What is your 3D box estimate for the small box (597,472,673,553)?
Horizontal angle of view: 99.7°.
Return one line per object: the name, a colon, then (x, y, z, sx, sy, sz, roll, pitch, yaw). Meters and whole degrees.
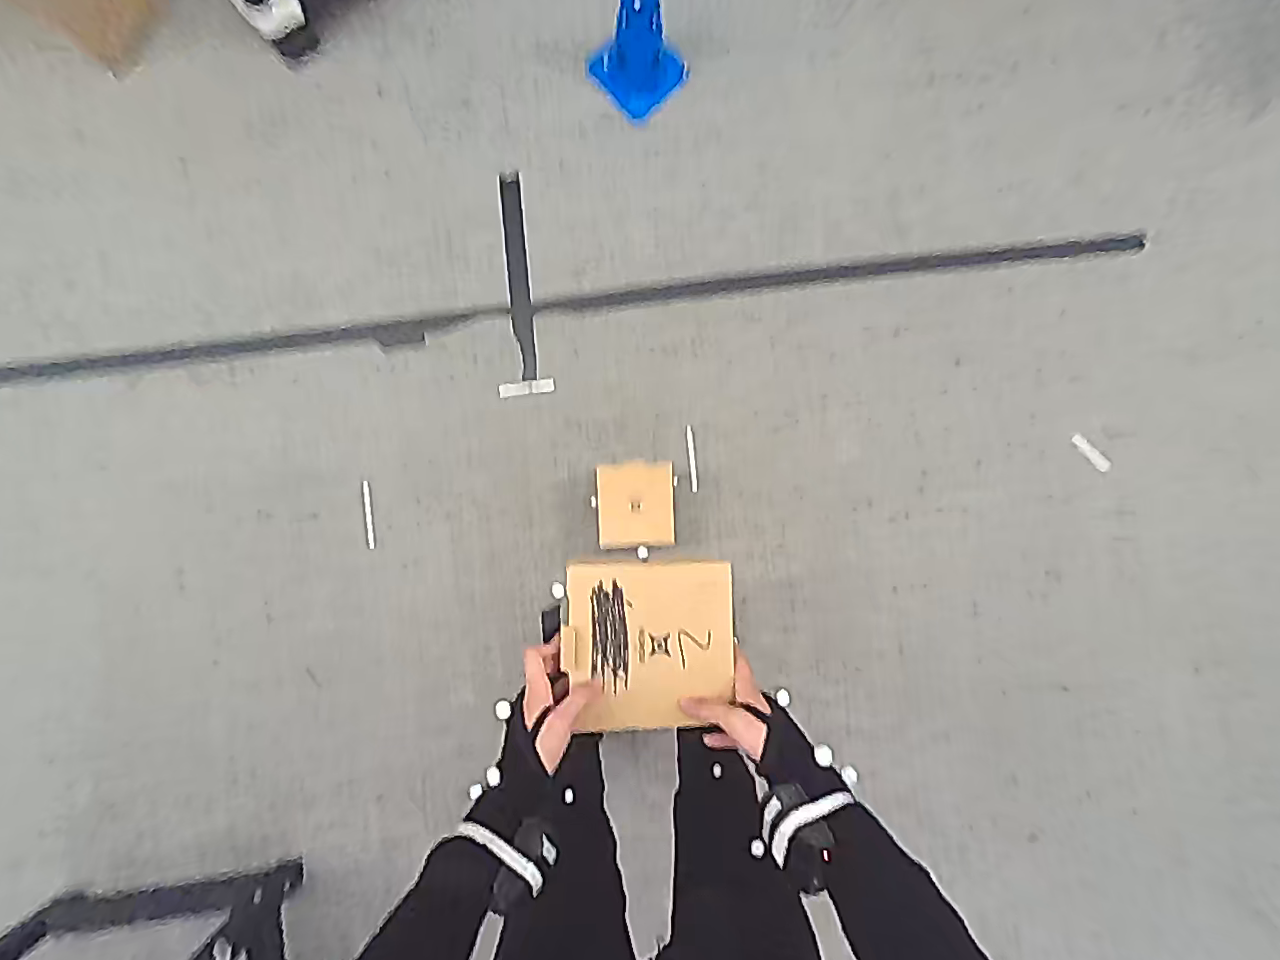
small box: (-0.012, 0.072, 1.258, 0.168, 0.176, 0.179, -2, 88, -2)
